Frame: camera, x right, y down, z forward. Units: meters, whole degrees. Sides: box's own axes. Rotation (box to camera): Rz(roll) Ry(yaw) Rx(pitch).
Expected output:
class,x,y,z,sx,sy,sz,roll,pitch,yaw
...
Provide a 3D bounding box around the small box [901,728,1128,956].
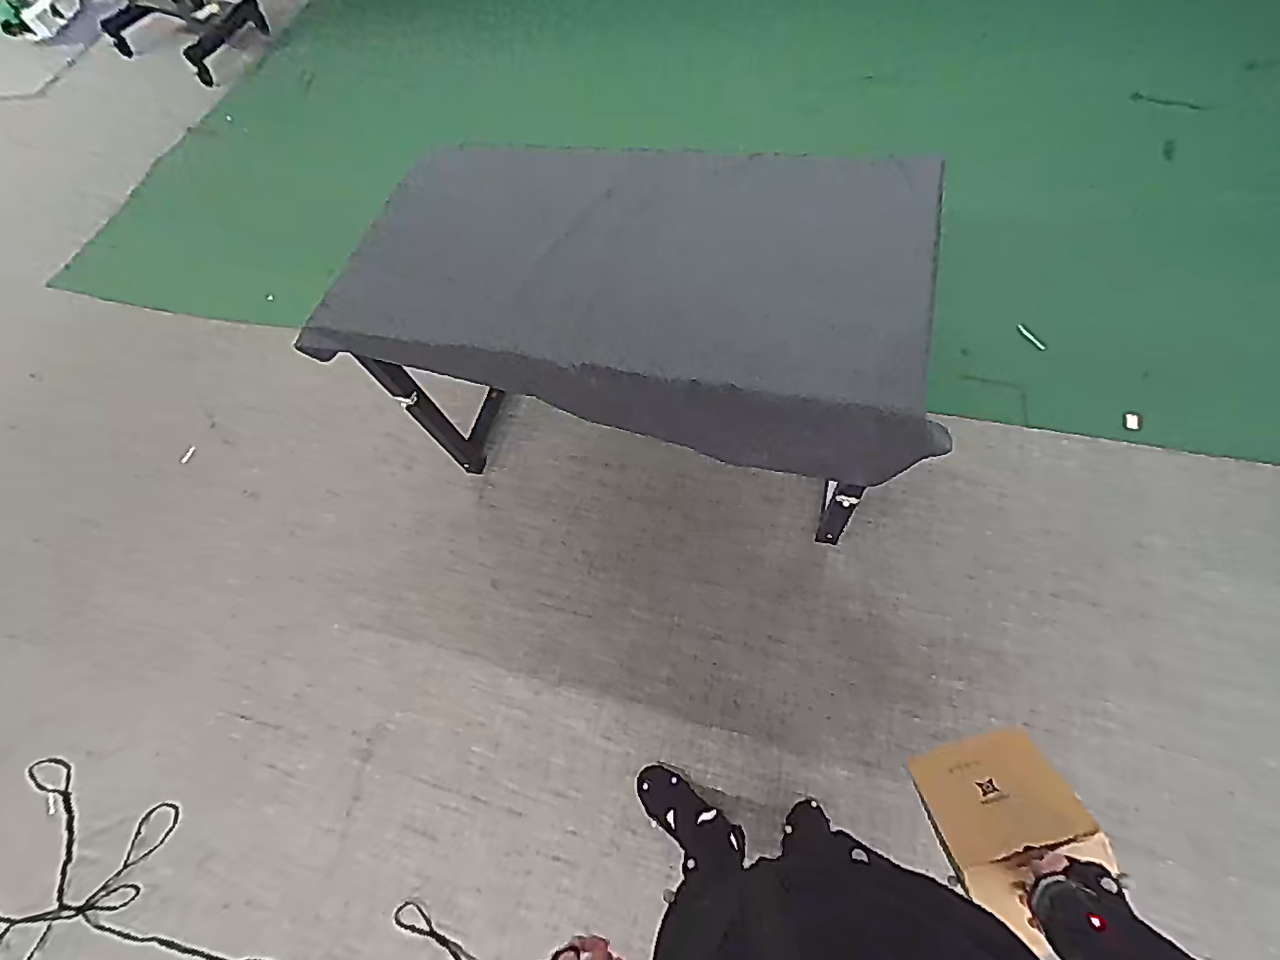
class,x,y,z,sx,sy,sz,roll,pitch,yaw
small box,0.483,0.476,0.713,0.168,0.179,0.176,-23,101,10
